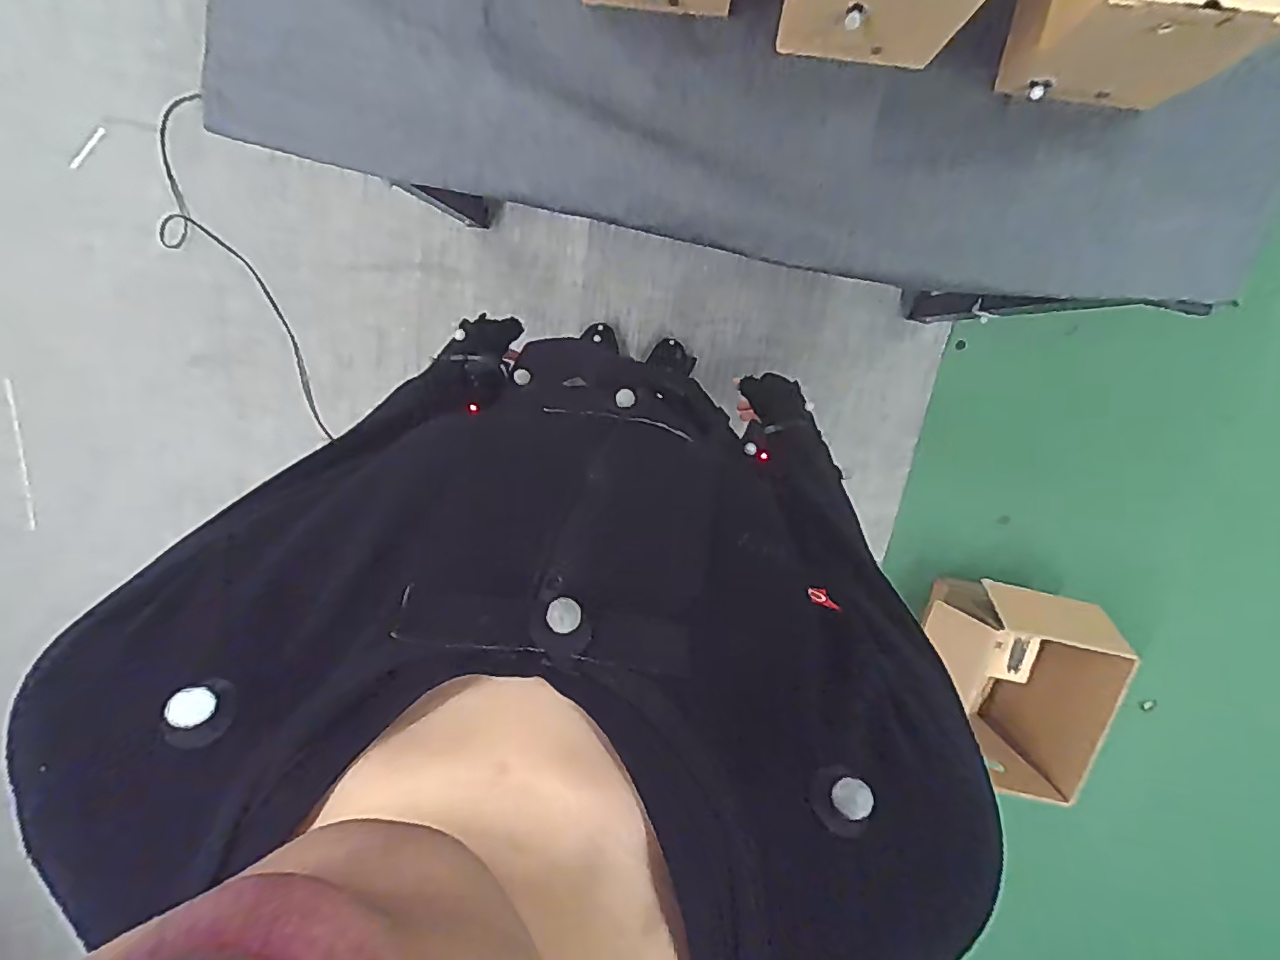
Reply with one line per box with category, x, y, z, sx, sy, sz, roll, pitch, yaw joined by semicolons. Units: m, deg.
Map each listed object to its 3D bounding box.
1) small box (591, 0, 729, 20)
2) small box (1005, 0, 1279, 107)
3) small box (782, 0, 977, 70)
small box;0.020;-0.577;0.493;0.168;0.176;0.179;8;104;2
small box;0.472;-0.472;0.488;0.168;0.176;0.179;8;103;2
small box;0.236;-0.518;0.495;0.168;0.176;0.179;8;104;2
